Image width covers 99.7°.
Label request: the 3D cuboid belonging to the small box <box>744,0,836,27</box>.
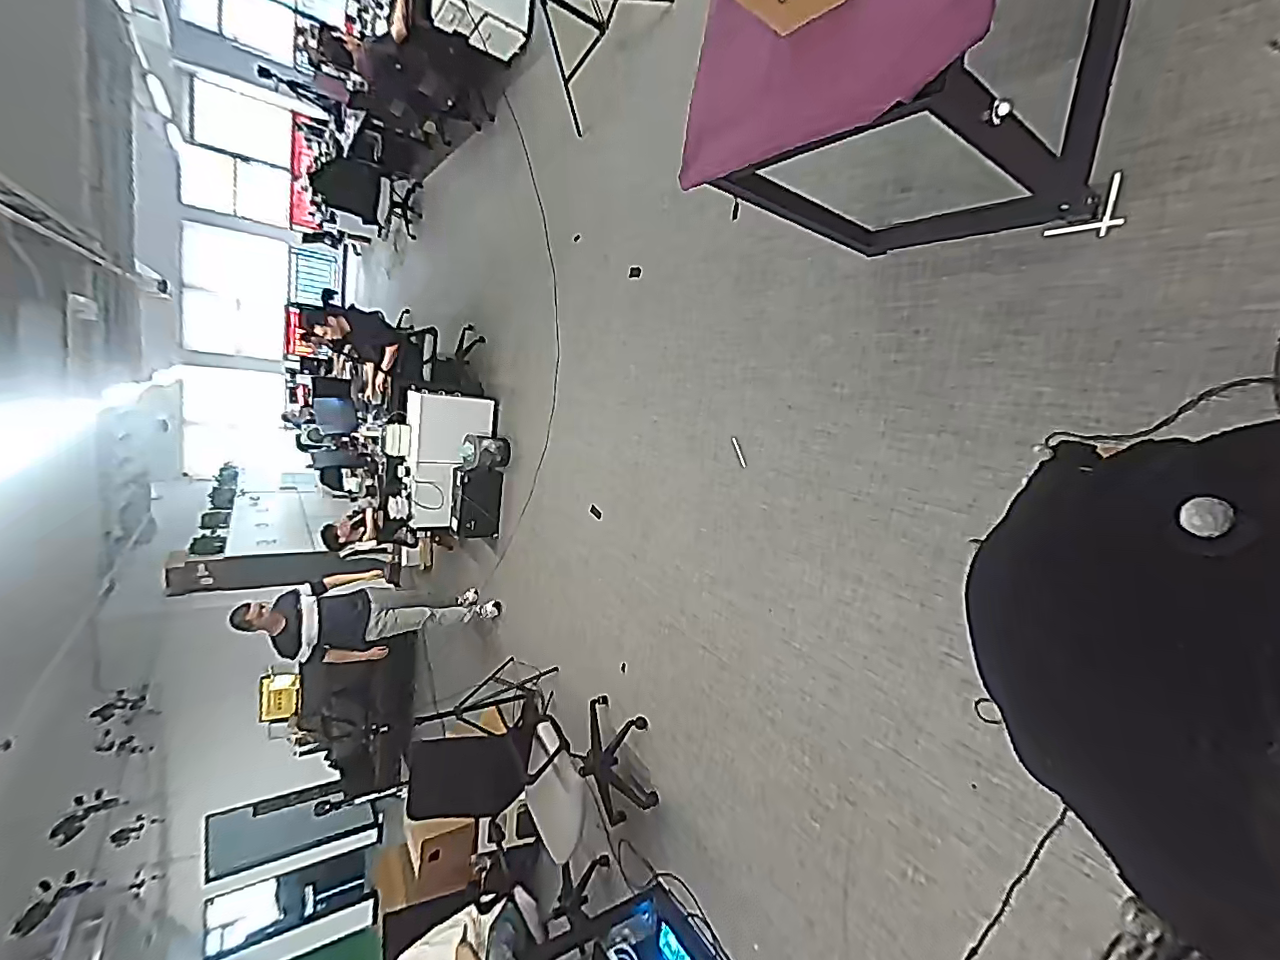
[{"bbox_3d":[0.277,-0.938,0.927,0.179,0.176,0.168,21,106,53],"label":"small box"}]
